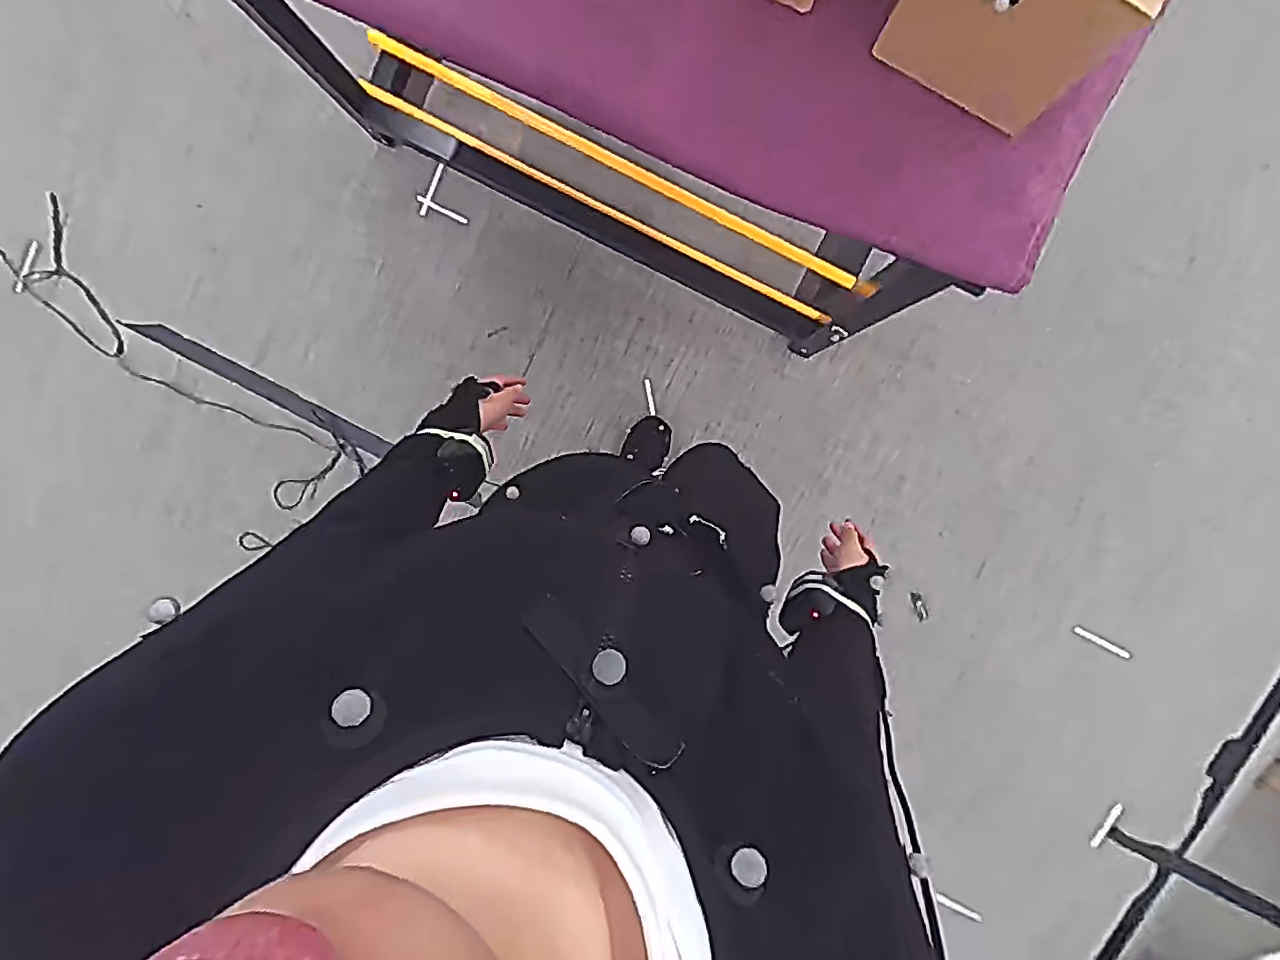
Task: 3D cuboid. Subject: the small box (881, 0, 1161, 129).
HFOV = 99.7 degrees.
[{"bbox_3d":[0.356,-0.467,0.487,0.179,0.176,0.168,30,95,-1],"label":"small box"}]
